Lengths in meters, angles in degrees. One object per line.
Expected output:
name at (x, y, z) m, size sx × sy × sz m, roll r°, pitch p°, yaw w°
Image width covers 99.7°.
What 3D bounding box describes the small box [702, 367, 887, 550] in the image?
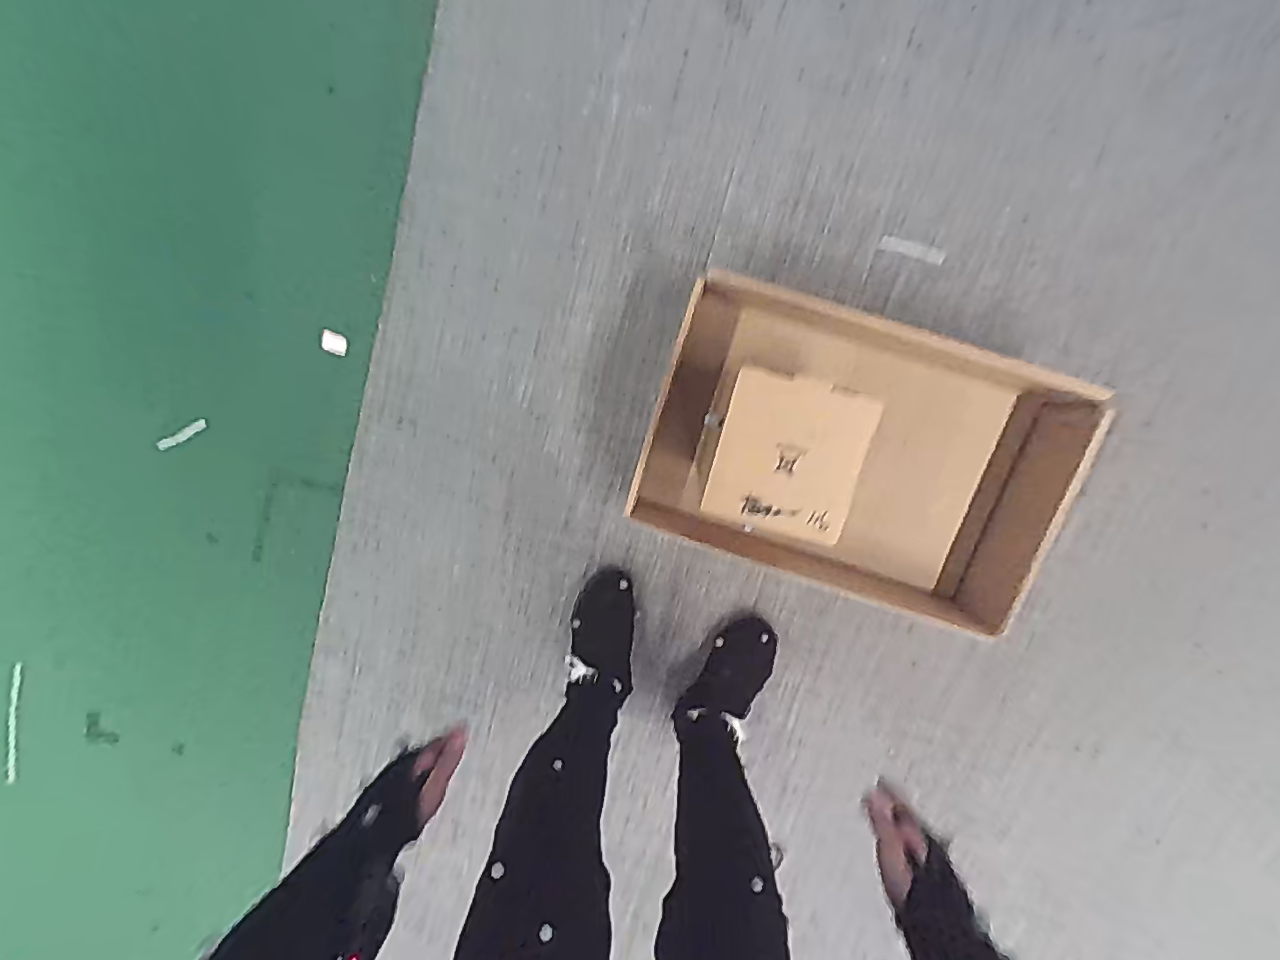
small box at (0.179, -0.035, 0.692) m, size 0.168 × 0.176 × 0.179 m, roll 16°, pitch 100°, yaw 2°
